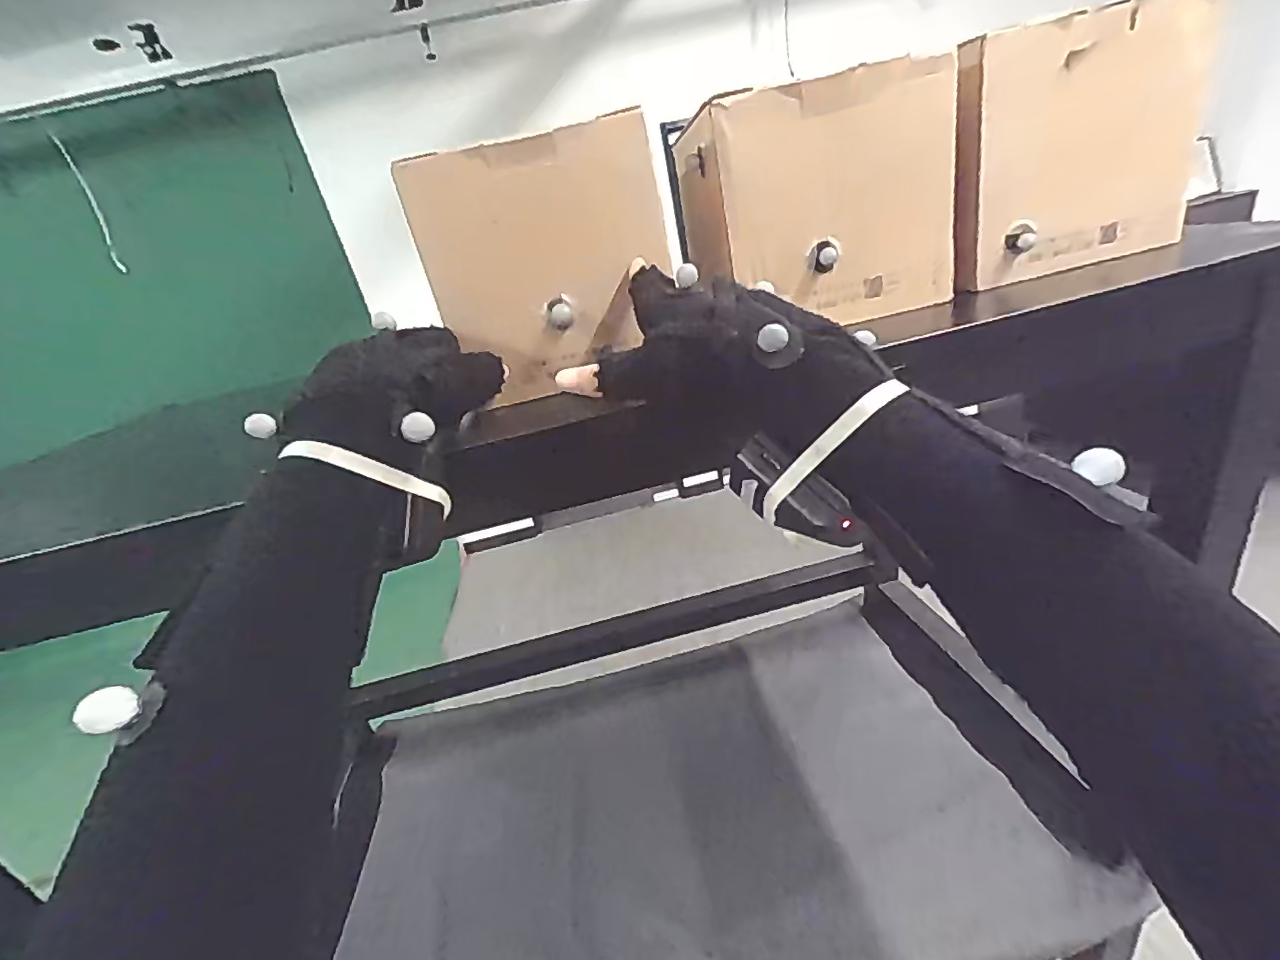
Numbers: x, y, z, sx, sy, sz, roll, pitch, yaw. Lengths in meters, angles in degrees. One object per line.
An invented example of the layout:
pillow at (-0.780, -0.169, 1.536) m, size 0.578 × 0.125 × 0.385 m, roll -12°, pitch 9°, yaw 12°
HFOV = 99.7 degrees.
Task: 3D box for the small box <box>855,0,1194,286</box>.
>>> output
small box at (0.309, -0.272, 0.469) m, size 0.168 × 0.176 × 0.179 m, roll -13°, pitch 22°, yaw 0°

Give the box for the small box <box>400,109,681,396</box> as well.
small box at (-0.069, -0.179, 0.454) m, size 0.168 × 0.176 × 0.179 m, roll -13°, pitch 23°, yaw -2°
